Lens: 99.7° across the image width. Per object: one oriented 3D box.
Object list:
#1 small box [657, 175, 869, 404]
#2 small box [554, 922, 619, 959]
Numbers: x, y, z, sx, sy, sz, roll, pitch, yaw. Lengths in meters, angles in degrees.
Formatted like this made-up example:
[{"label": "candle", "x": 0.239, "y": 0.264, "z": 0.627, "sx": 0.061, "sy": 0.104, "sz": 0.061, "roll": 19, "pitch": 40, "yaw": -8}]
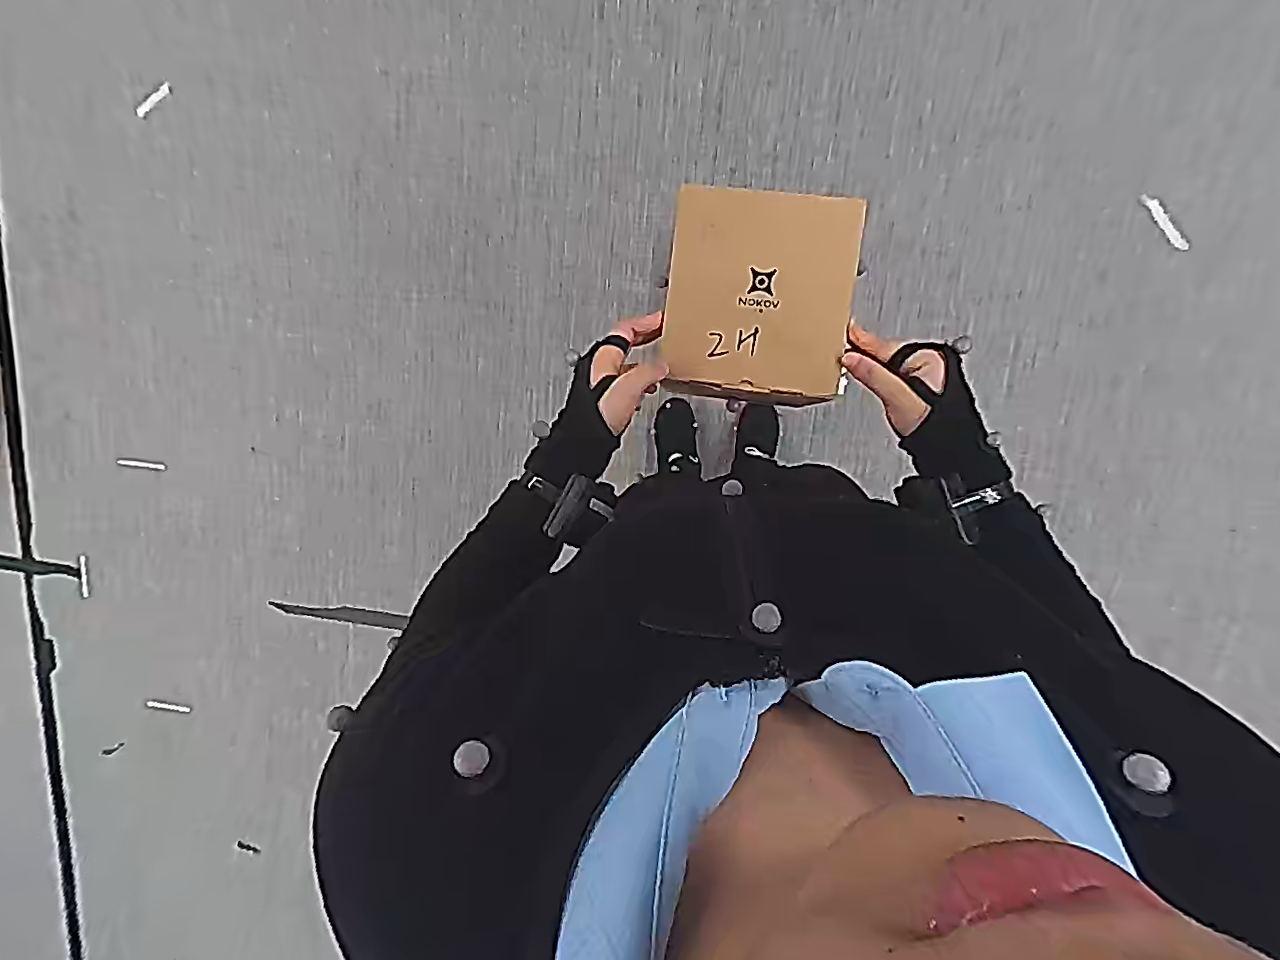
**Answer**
[{"label": "small box", "x": 0.112, "y": -0.178, "z": 0.556, "sx": 0.168, "sy": 0.176, "sz": 0.179, "roll": 8, "pitch": 96, "yaw": 4}, {"label": "small box", "x": -0.152, "y": 1.368, "z": 1.476, "sx": 0.168, "sy": 0.176, "sz": 0.179, "roll": 5, "pitch": 100, "yaw": 5}]
